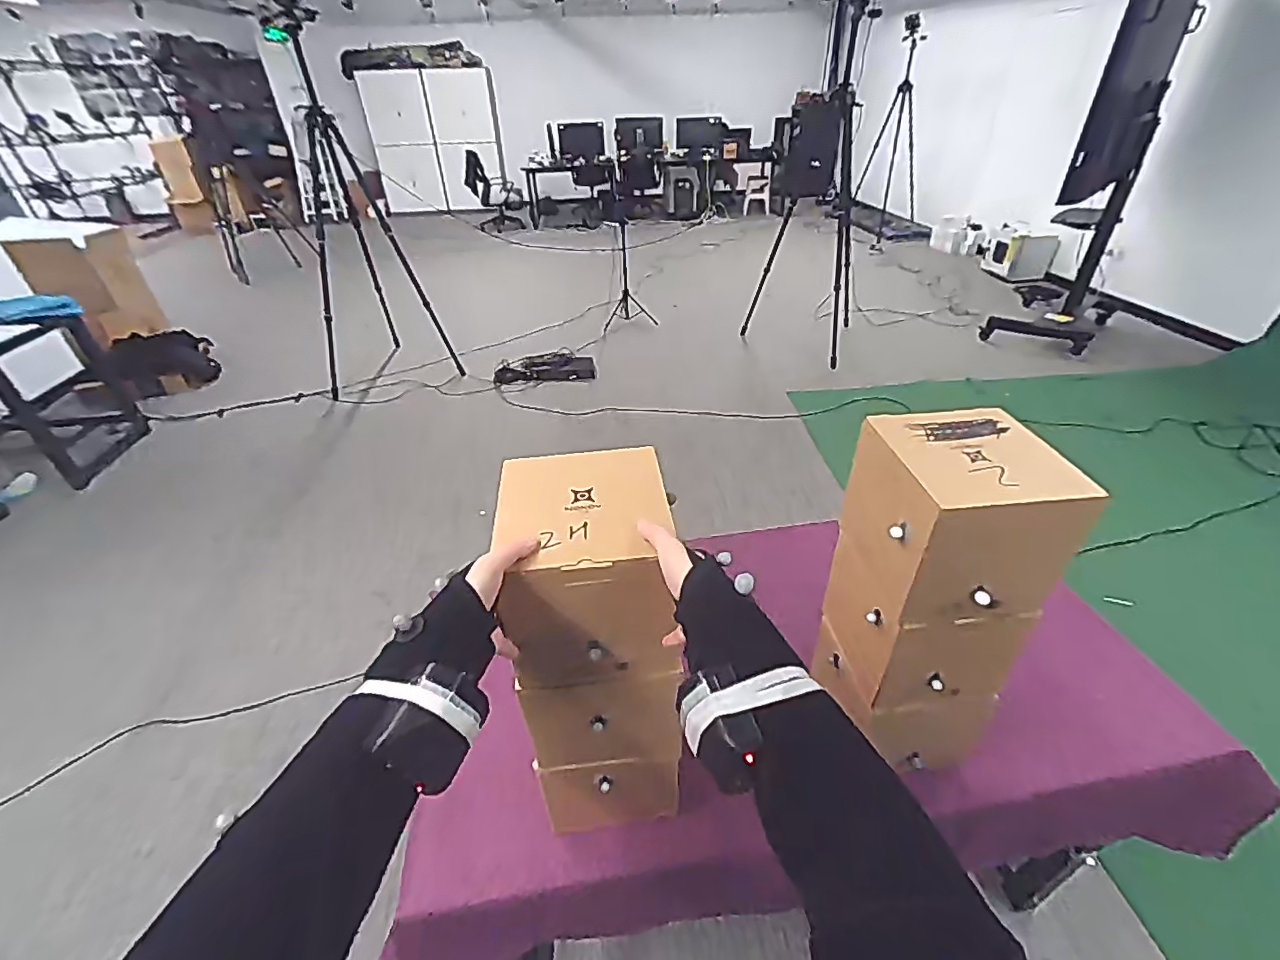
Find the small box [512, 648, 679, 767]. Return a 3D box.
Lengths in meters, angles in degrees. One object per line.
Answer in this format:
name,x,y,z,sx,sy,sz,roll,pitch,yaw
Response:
small box,-0.050,0.227,0.669,0.179,0.176,0.168,-6,37,-3

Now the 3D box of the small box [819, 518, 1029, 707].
small box,0.357,0.174,0.724,0.168,0.176,0.179,-5,37,-4

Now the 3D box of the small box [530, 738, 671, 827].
small box,-0.051,0.362,0.762,0.179,0.176,0.168,-4,36,-4

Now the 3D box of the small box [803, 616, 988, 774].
small box,0.364,0.312,0.810,0.179,0.176,0.168,-5,35,-5

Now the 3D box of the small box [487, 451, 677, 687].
small box,-0.057,0.090,0.576,0.168,0.176,0.179,-6,37,-4
